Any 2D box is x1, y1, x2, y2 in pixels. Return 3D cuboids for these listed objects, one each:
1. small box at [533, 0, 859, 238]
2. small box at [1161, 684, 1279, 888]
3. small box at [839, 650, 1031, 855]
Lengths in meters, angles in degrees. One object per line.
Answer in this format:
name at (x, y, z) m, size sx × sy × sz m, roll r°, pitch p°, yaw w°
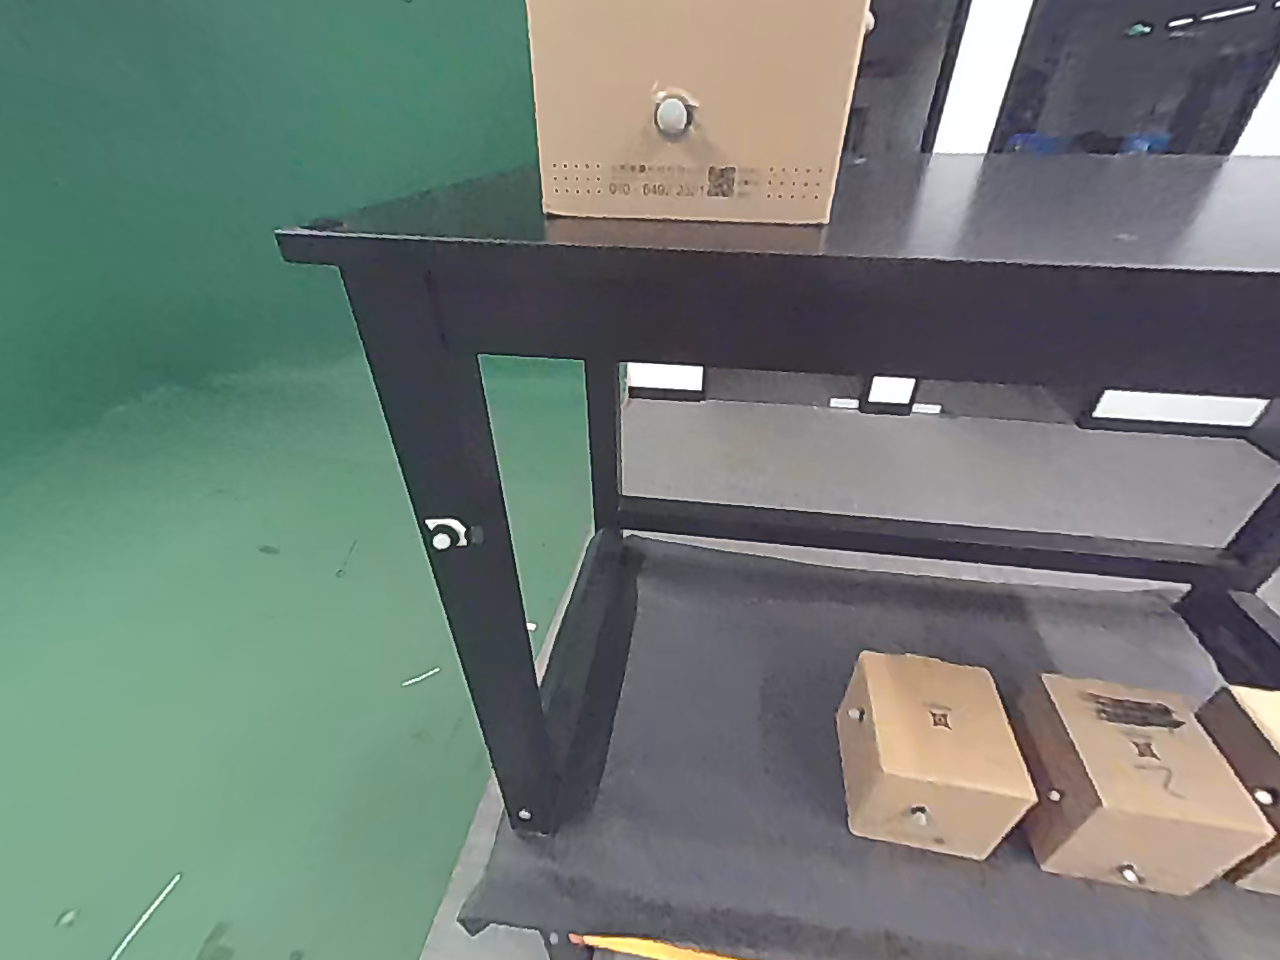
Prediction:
small box at (0.035, -0.262, 0.338) m, size 0.168 × 0.176 × 0.179 m, roll 5°, pitch 36°, yaw 8°
small box at (0.820, 0.389, 0.668) m, size 0.168 × 0.176 × 0.179 m, roll 7°, pitch 35°, yaw 10°
small box at (0.372, 0.360, 0.721) m, size 0.168 × 0.176 × 0.179 m, roll 6°, pitch 35°, yaw 9°
